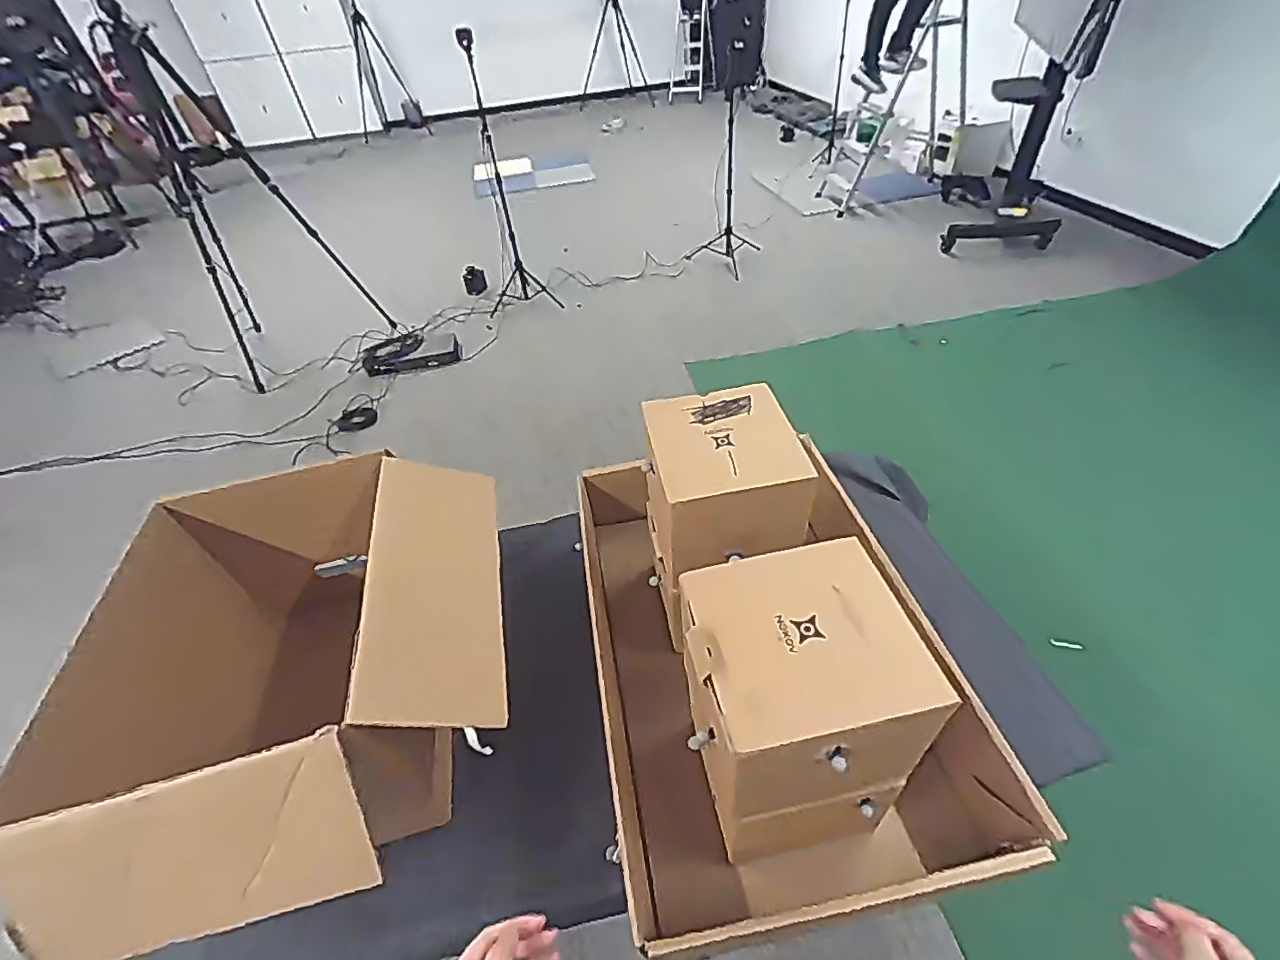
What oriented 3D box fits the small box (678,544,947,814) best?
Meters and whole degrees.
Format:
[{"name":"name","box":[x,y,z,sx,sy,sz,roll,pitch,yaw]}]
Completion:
[{"name":"small box","box":[0.140,0.189,0.510,0.179,0.176,0.168,-10,45,-5]}]

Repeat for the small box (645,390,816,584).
[{"name":"small box","box":[0.101,0.012,0.688,0.168,0.176,0.179,-9,47,-3]}]
